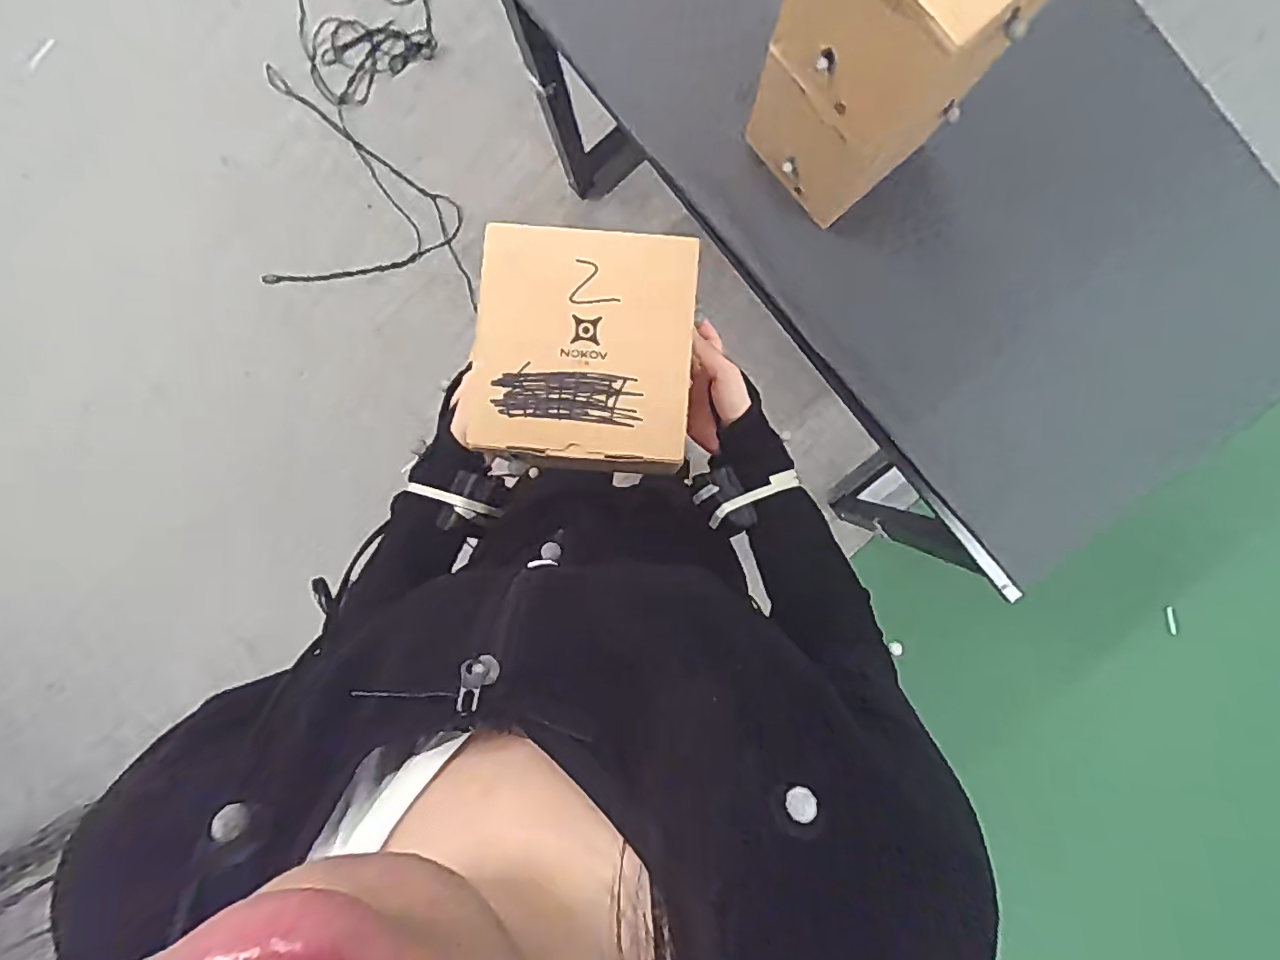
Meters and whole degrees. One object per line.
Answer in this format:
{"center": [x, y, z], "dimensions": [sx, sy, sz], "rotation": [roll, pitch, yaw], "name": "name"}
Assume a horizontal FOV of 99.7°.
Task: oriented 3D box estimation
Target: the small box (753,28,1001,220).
{"center": [0.256, -0.452, 0.634], "dimensions": [0.179, 0.176, 0.168], "rotation": [-41, 90, 3], "name": "small box"}

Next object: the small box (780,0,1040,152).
{"center": [0.250, -0.443, 0.472], "dimensions": [0.179, 0.176, 0.168], "rotation": [-41, 91, 4], "name": "small box"}
